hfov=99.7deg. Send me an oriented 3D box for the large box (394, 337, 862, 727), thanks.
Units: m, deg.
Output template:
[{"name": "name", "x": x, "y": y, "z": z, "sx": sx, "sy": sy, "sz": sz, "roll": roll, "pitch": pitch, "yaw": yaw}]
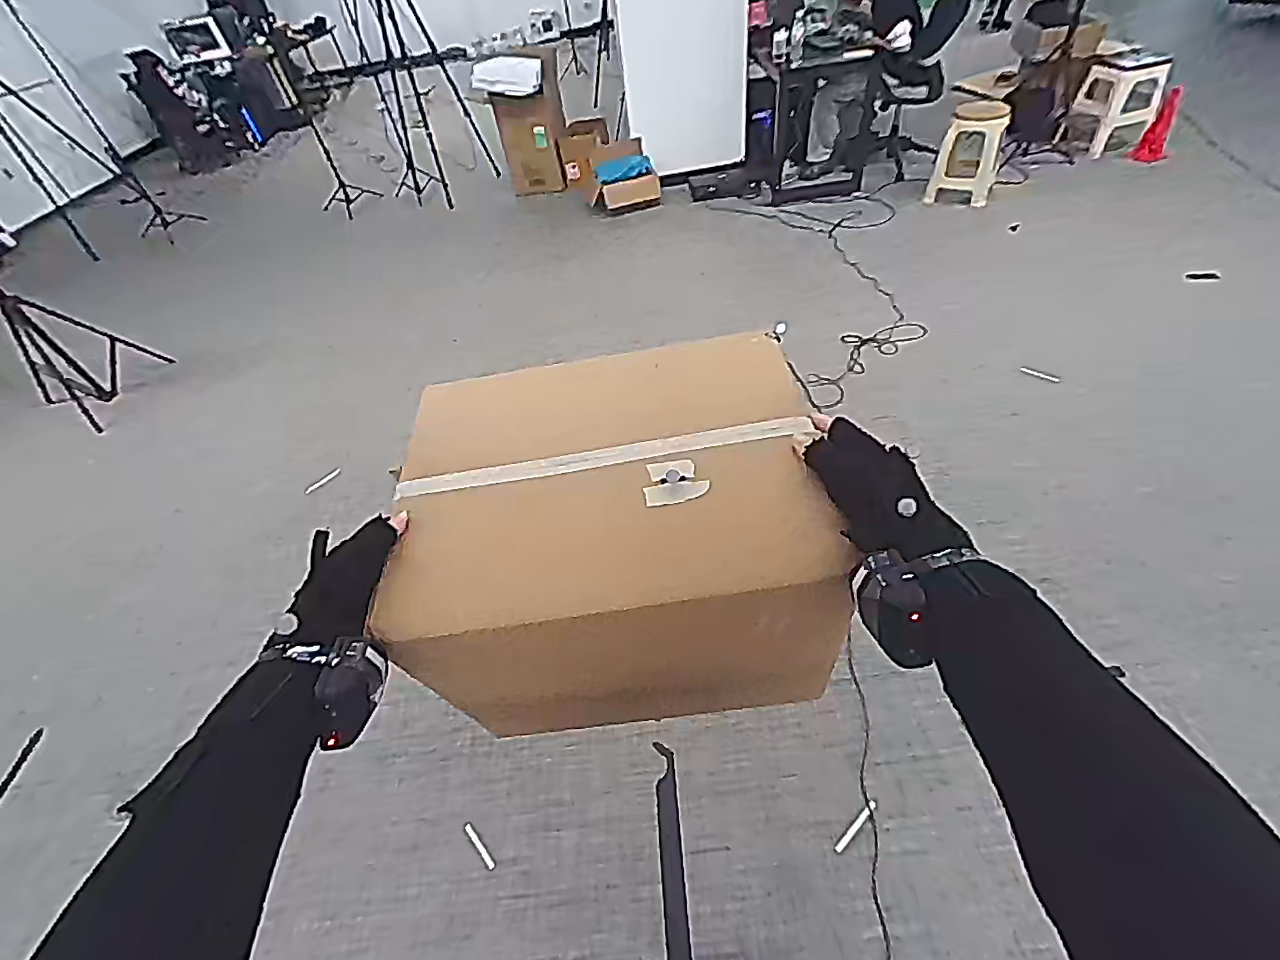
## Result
[{"name": "large box", "x": -0.009, "y": 0.074, "z": 0.653, "sx": 0.408, "sy": 0.320, "sz": 0.320, "roll": -8, "pitch": 52, "yaw": 3}]
